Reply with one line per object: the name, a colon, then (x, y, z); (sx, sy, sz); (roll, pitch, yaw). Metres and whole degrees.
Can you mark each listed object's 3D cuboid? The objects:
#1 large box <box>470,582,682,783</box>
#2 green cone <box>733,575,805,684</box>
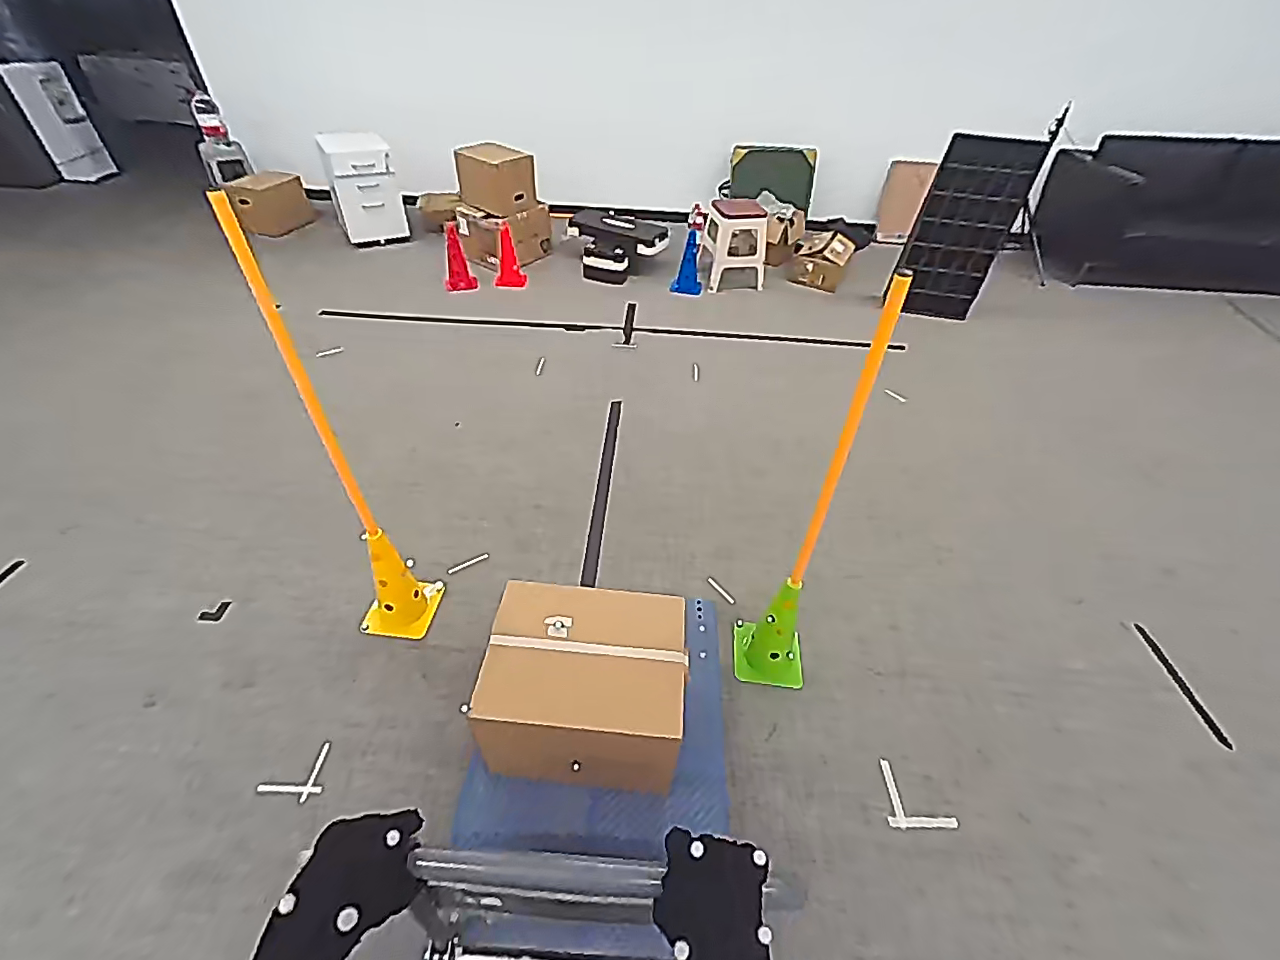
large box: (-0.117, 0.460, 1.223); (0.408, 0.320, 0.320); (5, 43, 2)
green cone: (0.396, 0.396, 1.537); (0.202, 0.368, 0.200); (8, 43, 2)
